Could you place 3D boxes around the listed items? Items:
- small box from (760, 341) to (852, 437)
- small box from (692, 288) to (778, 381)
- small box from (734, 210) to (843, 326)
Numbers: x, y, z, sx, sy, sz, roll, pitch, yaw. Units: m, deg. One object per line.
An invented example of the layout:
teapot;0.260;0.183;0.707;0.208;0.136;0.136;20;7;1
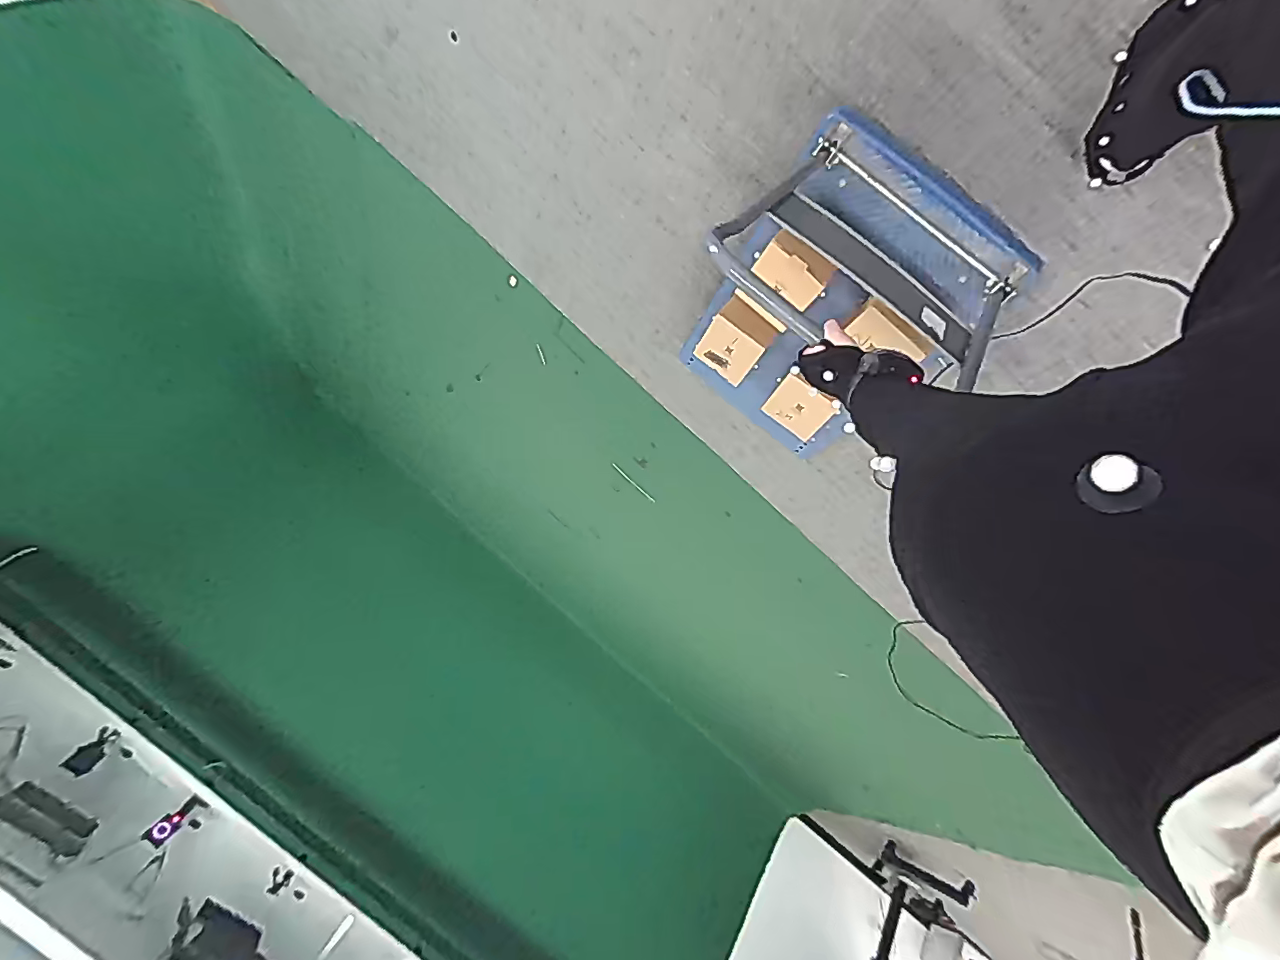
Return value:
small box;0.482;-0.266;1.556;0.168;0.176;0.179;38;147;4
small box;0.283;-0.427;1.558;0.168;0.176;0.179;37;147;2
small box;0.374;-0.528;1.350;0.168;0.176;0.179;40;147;-1
